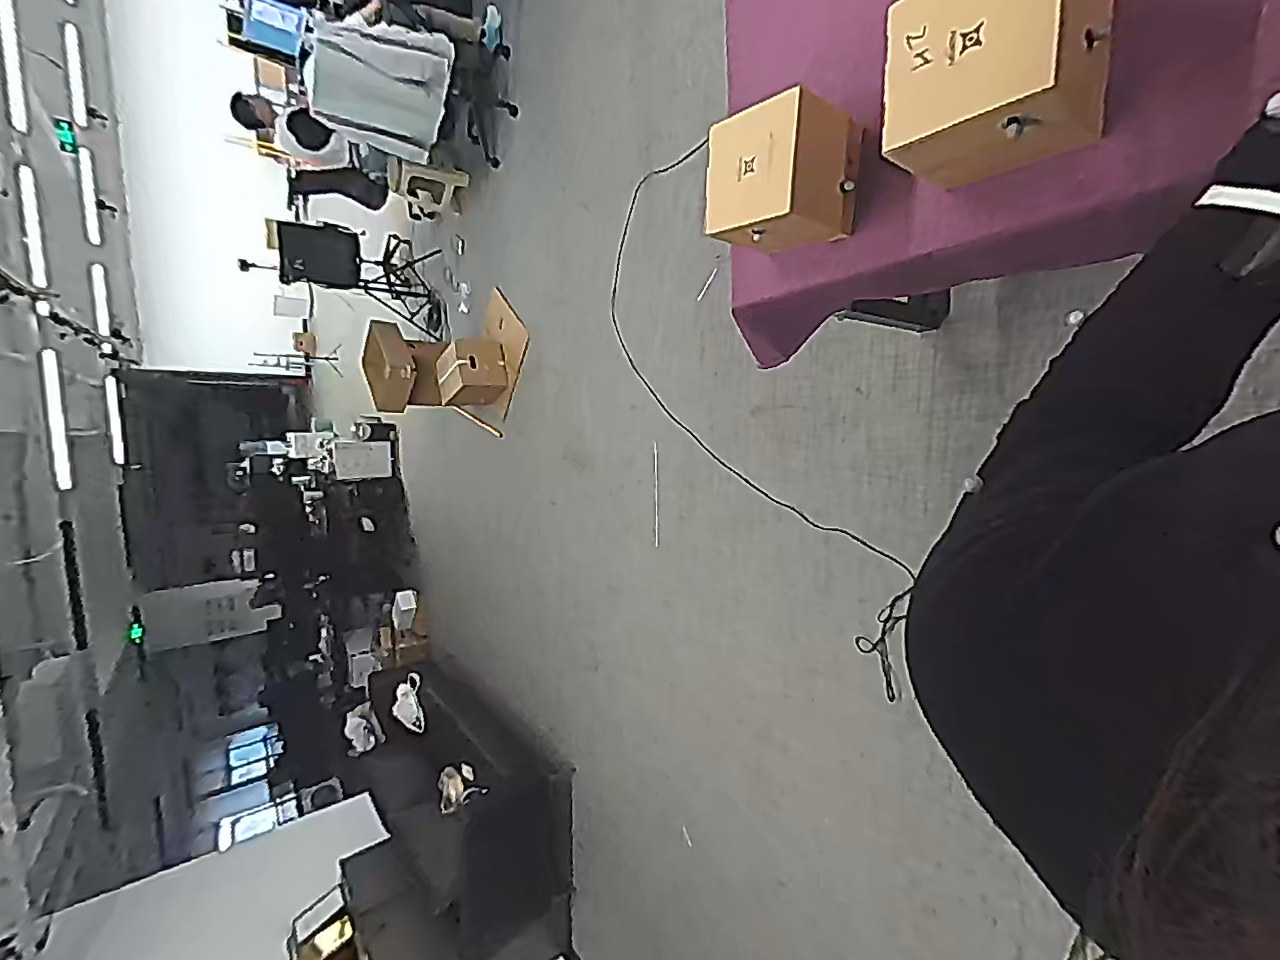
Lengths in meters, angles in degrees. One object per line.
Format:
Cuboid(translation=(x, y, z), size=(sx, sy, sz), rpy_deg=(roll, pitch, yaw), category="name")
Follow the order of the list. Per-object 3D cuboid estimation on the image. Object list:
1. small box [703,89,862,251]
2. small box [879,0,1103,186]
Cuboid(translation=(0.225, -0.480, 0.871), size=(0.179, 0.176, 0.168), rpy_deg=(15, 106, 50), category="small box")
Cuboid(translation=(0.409, -0.474, 0.634), size=(0.179, 0.176, 0.168), rpy_deg=(9, 100, 52), category="small box")
